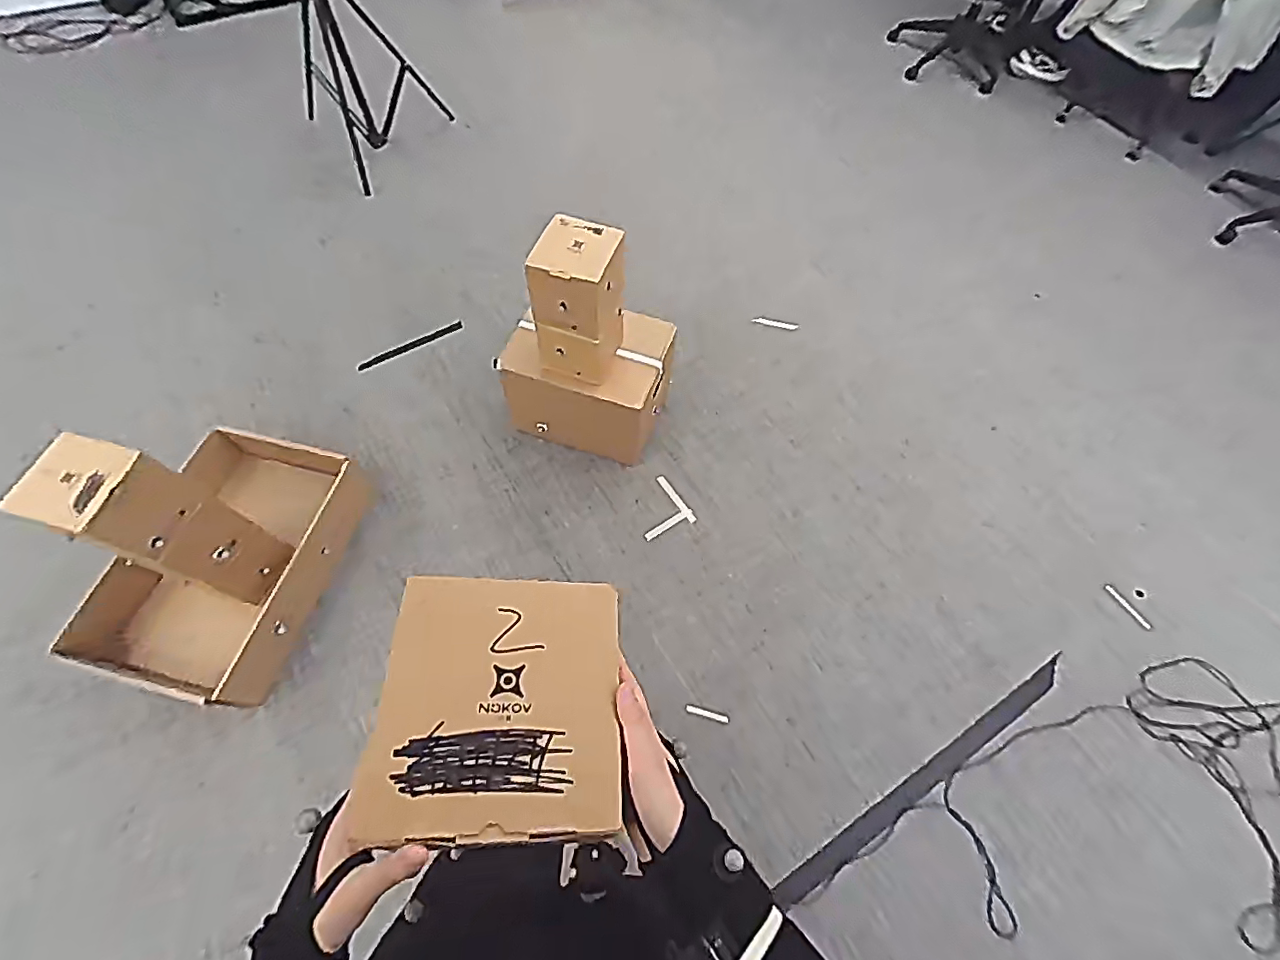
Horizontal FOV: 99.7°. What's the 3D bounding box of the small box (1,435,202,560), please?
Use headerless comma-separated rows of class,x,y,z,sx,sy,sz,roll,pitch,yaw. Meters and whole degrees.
small box,-1.011,0.042,1.037,0.179,0.176,0.168,13,63,6

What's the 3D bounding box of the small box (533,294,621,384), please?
small box,-0.150,-0.370,1.363,0.168,0.176,0.179,17,63,6

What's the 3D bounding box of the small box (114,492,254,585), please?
small box,-1.011,0.116,1.184,0.179,0.176,0.168,15,64,5

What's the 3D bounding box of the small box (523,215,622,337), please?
small box,-0.144,-0.453,1.221,0.168,0.176,0.179,18,64,6

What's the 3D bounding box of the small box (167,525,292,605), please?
small box,-1.015,0.192,1.327,0.179,0.176,0.168,16,64,6
